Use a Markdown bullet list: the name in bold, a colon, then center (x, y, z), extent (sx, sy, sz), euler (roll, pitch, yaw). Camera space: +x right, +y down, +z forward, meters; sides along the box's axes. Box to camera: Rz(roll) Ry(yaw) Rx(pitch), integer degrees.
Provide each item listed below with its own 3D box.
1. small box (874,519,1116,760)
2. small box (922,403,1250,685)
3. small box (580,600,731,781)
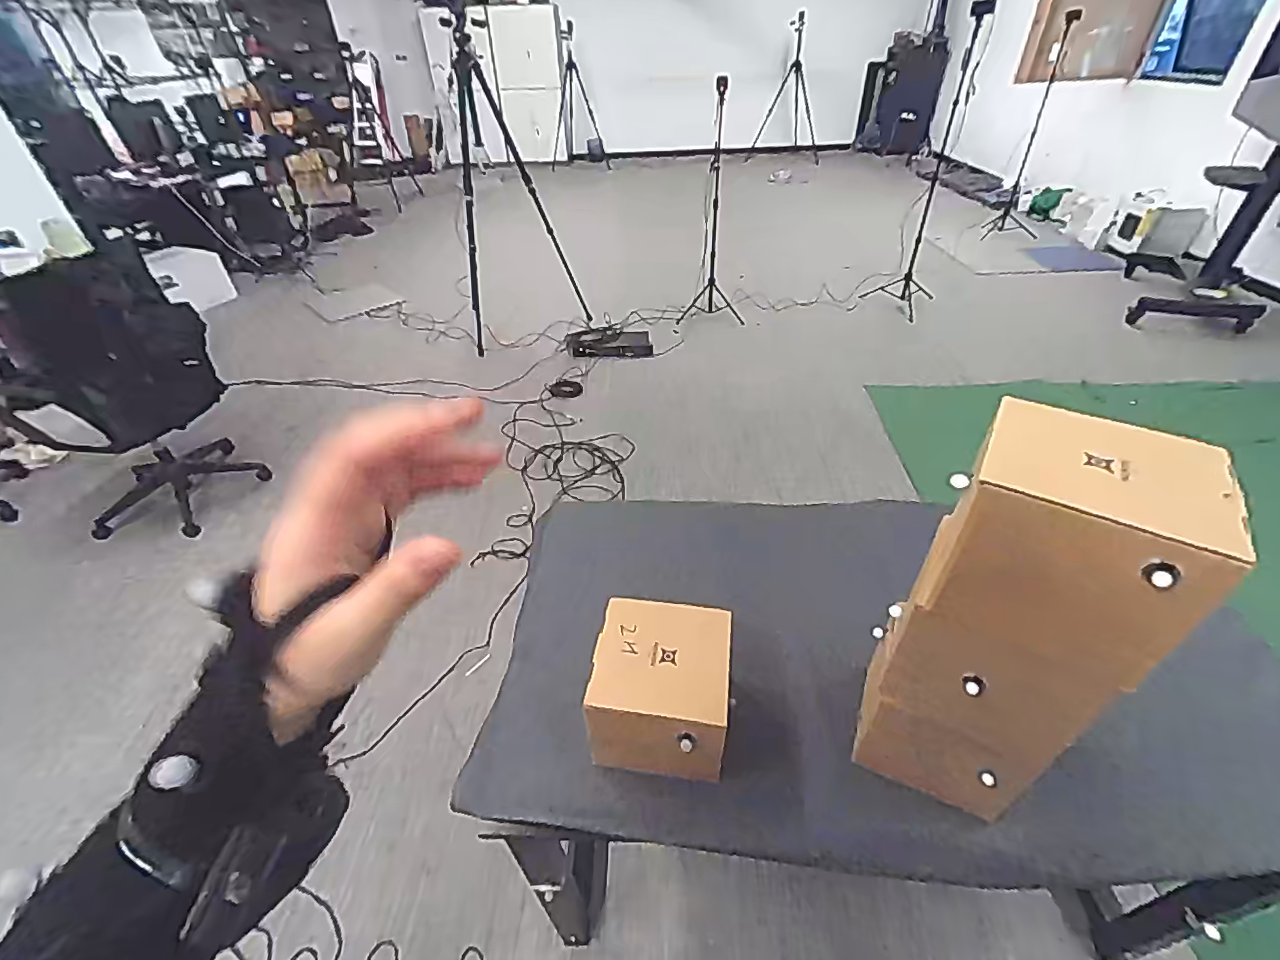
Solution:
- **small box**: center (0.391, 0.180, 0.609), extent (0.179, 0.176, 0.168), euler (22, 44, 28)
- **small box**: center (0.389, 0.055, 0.505), extent (0.179, 0.176, 0.168), euler (22, 44, 27)
- **small box**: center (0.029, 0.292, 0.749), extent (0.179, 0.176, 0.168), euler (5, 40, 9)
